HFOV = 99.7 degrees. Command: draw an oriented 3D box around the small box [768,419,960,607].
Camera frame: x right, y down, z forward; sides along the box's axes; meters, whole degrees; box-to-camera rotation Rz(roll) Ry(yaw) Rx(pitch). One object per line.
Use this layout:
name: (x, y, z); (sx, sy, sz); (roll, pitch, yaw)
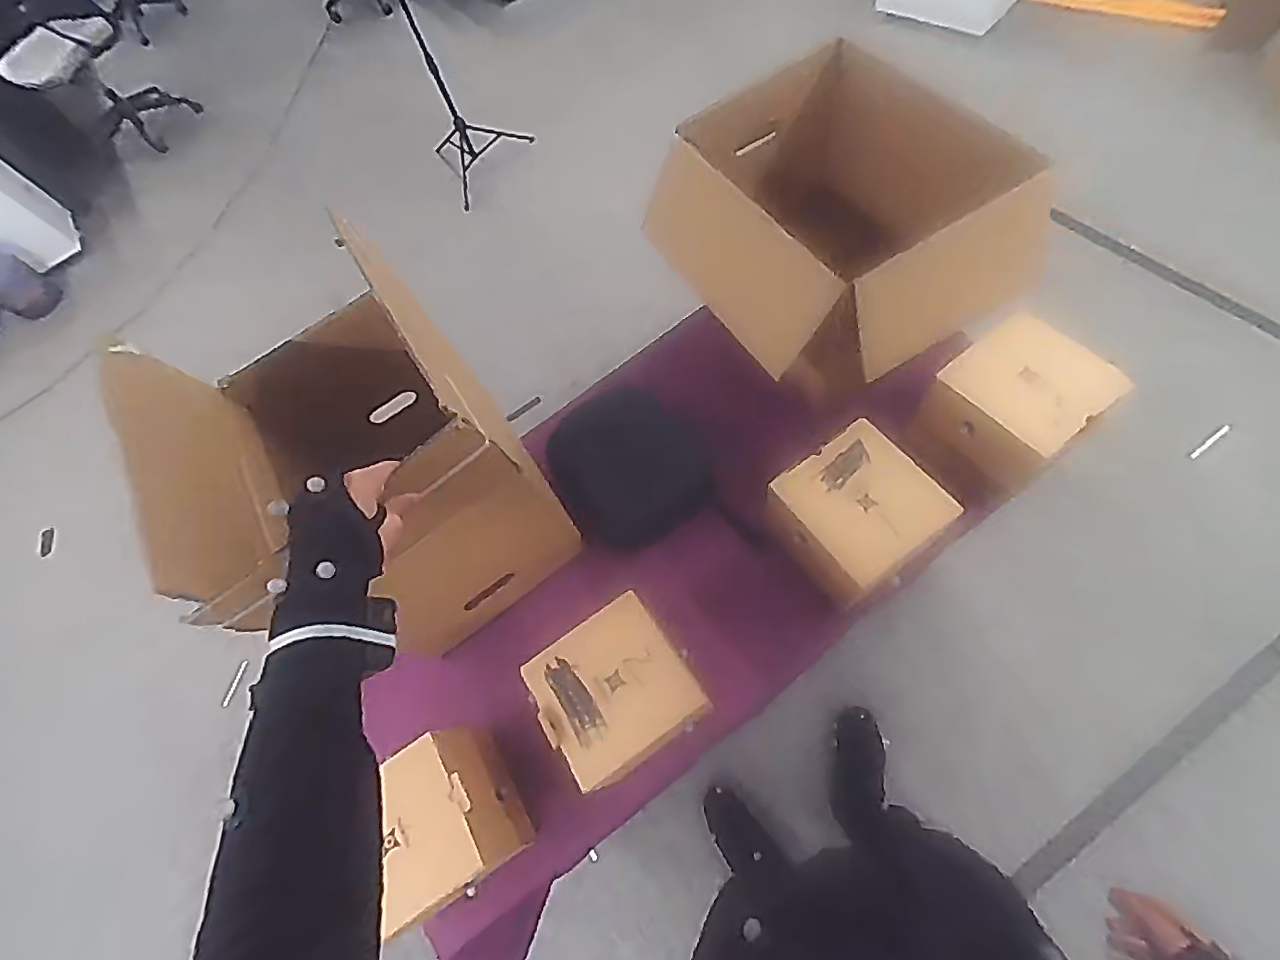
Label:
small box: (0.295, 0.054, 0.762); (0.168, 0.176, 0.179); (-36, 64, -5)

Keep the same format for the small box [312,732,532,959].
small box: (-0.270, 0.452, 0.698); (0.179, 0.176, 0.168); (-34, 64, -7)
